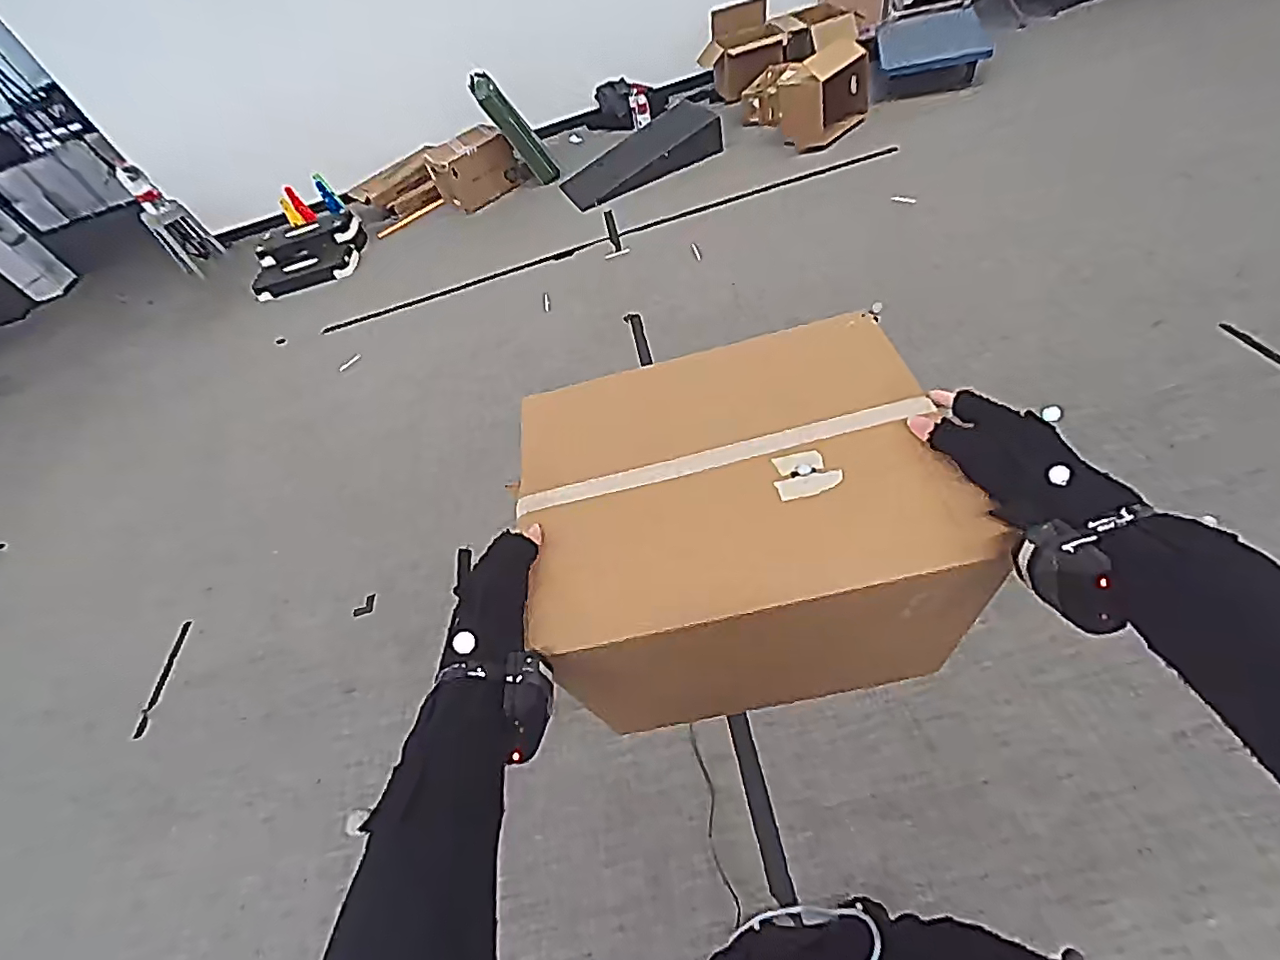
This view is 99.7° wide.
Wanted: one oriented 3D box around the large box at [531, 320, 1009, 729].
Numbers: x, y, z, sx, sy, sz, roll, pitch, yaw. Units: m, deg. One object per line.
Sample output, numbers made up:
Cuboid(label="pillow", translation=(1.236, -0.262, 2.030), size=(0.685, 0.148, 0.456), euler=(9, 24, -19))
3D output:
Cuboid(label="large box", translation=(0.113, 0.069, 0.653), size=(0.408, 0.320, 0.320), euler=(-14, 53, 4))
